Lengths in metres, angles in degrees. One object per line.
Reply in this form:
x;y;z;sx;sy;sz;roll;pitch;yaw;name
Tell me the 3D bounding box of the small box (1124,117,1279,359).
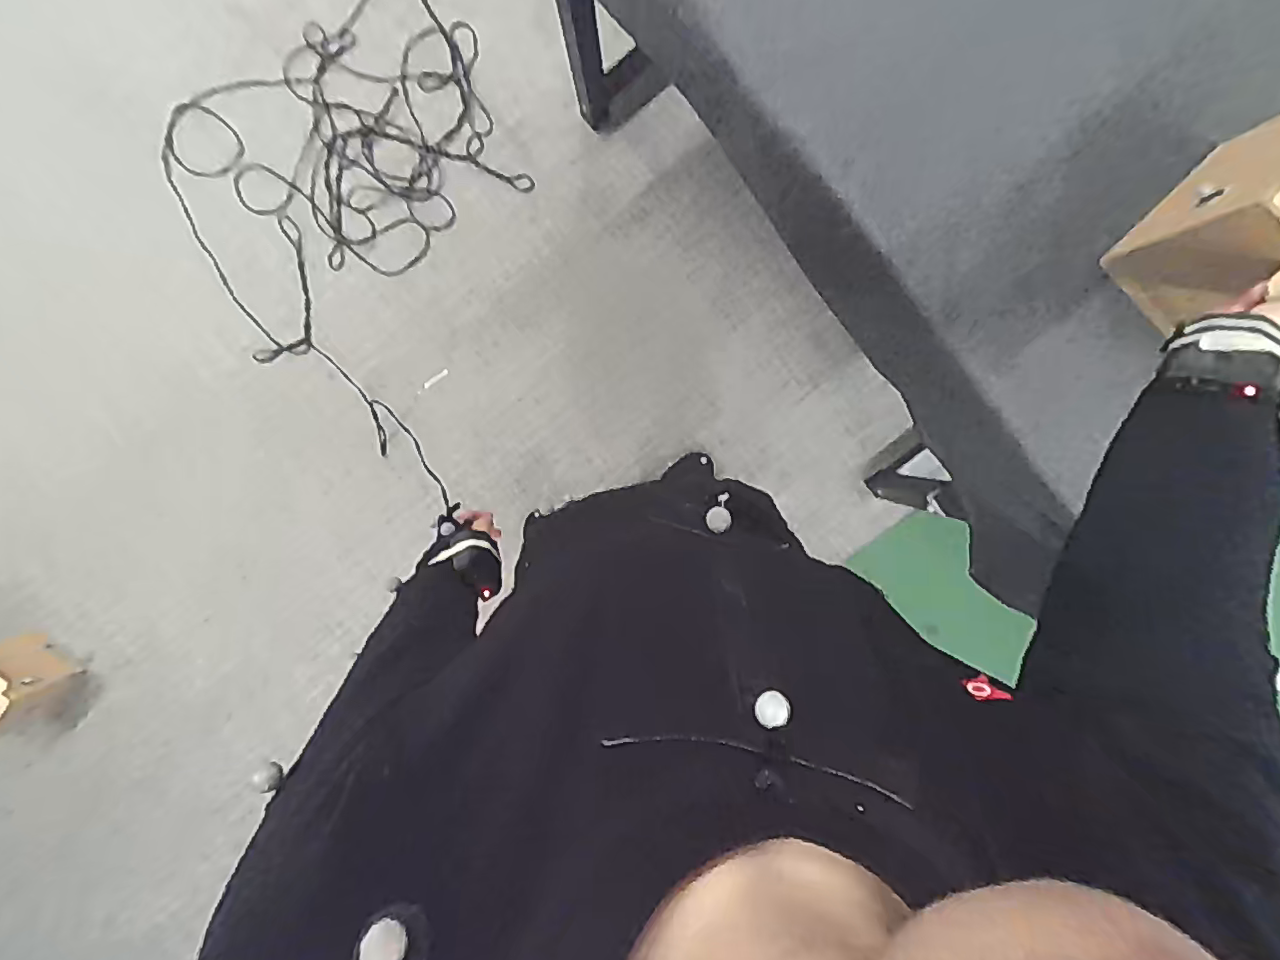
0.619;-0.235;0.505;0.168;0.176;0.179;44;93;-4;small box
